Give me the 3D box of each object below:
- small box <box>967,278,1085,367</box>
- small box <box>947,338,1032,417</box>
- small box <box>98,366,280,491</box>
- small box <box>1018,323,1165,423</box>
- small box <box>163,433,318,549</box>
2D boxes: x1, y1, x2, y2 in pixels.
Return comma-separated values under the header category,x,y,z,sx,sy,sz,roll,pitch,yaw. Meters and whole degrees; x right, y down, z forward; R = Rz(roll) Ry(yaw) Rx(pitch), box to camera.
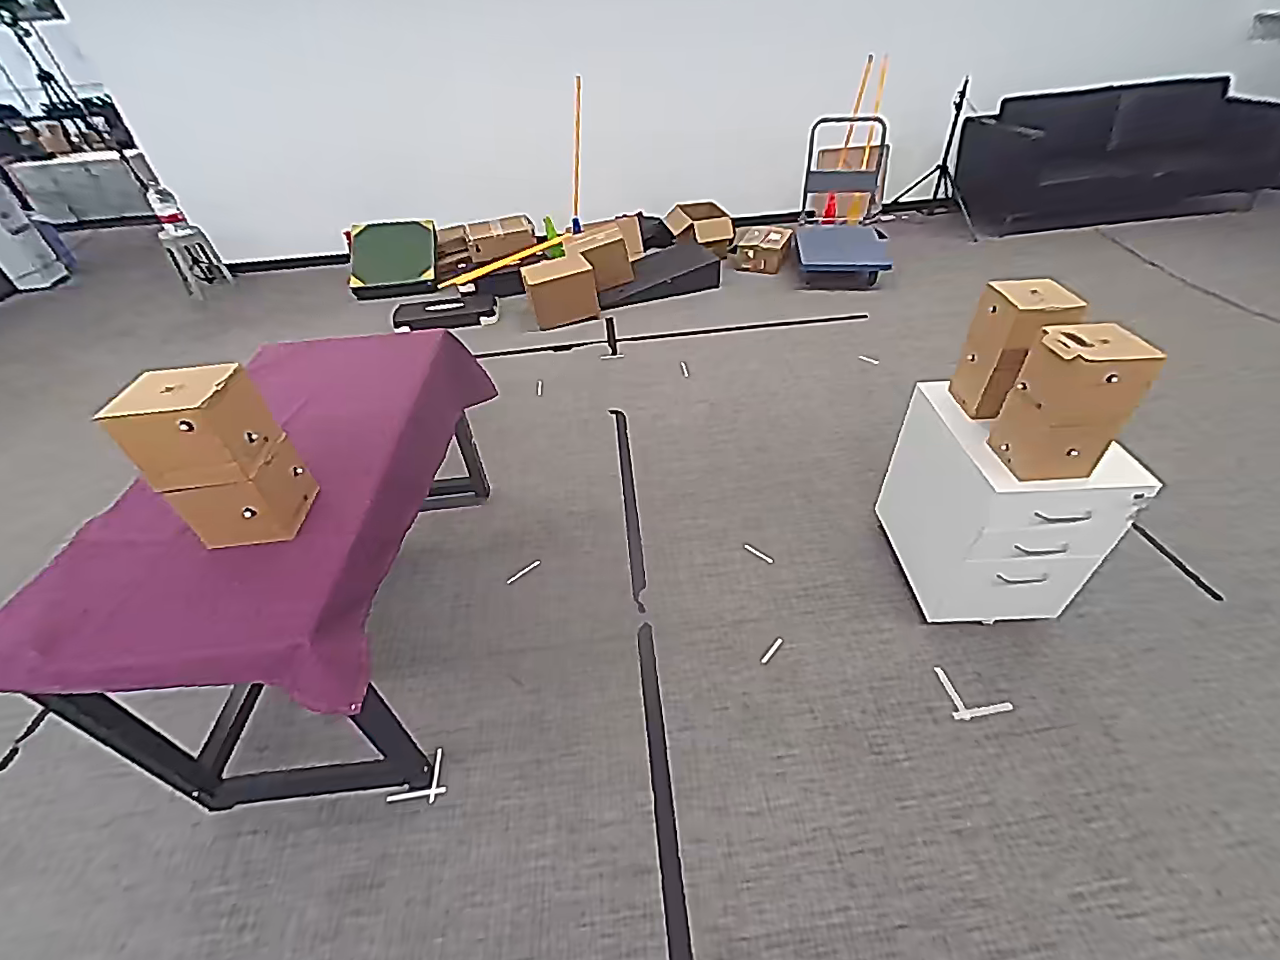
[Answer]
category,x,y,z,sx,sy,sz,roll,pitch,yaw
small box,1.002,-0.415,1.425,0.168,0.176,0.179,-3,42,2
small box,1.015,-0.291,1.534,0.179,0.176,0.168,-1,42,2
small box,-0.830,-0.094,1.020,0.179,0.176,0.168,-7,40,-5
small box,1.005,-0.241,1.230,0.179,0.176,0.168,-3,41,0
small box,-0.815,0.024,1.130,0.179,0.176,0.168,-7,41,-2
